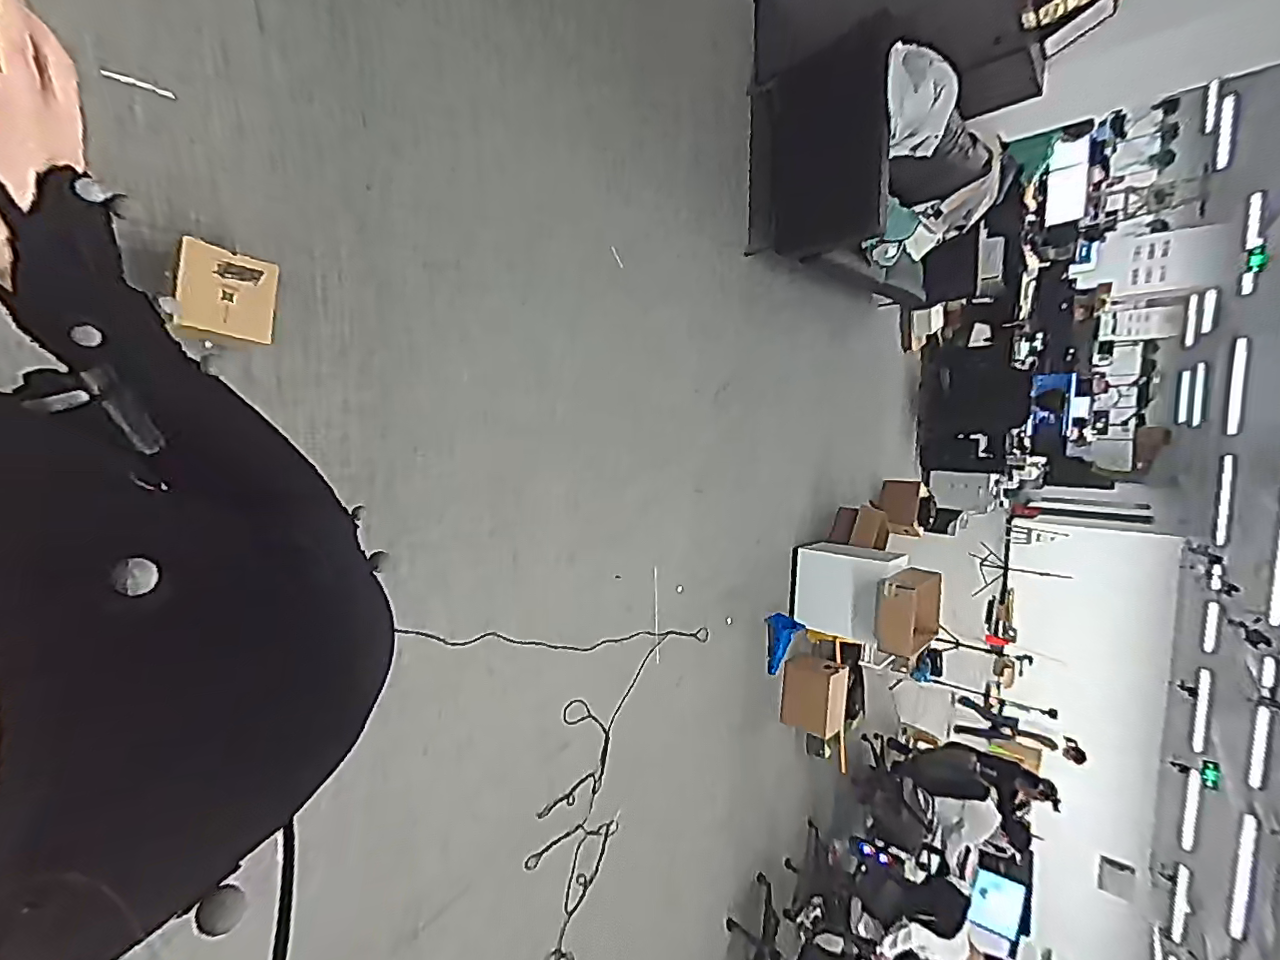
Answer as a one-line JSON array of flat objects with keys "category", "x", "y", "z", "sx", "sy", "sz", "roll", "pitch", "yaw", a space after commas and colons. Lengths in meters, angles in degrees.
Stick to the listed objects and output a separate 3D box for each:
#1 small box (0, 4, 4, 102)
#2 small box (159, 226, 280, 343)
[{"category": "small box", "x": -0.431, "y": -0.284, "z": 0.255, "sx": 0.168, "sy": 0.176, "sz": 0.179, "roll": -1, "pitch": 86, "yaw": -49}, {"category": "small box", "x": -0.896, "y": -0.403, "z": 1.149, "sx": 0.168, "sy": 0.176, "sz": 0.179, "roll": 7, "pitch": 89, "yaw": -49}]
